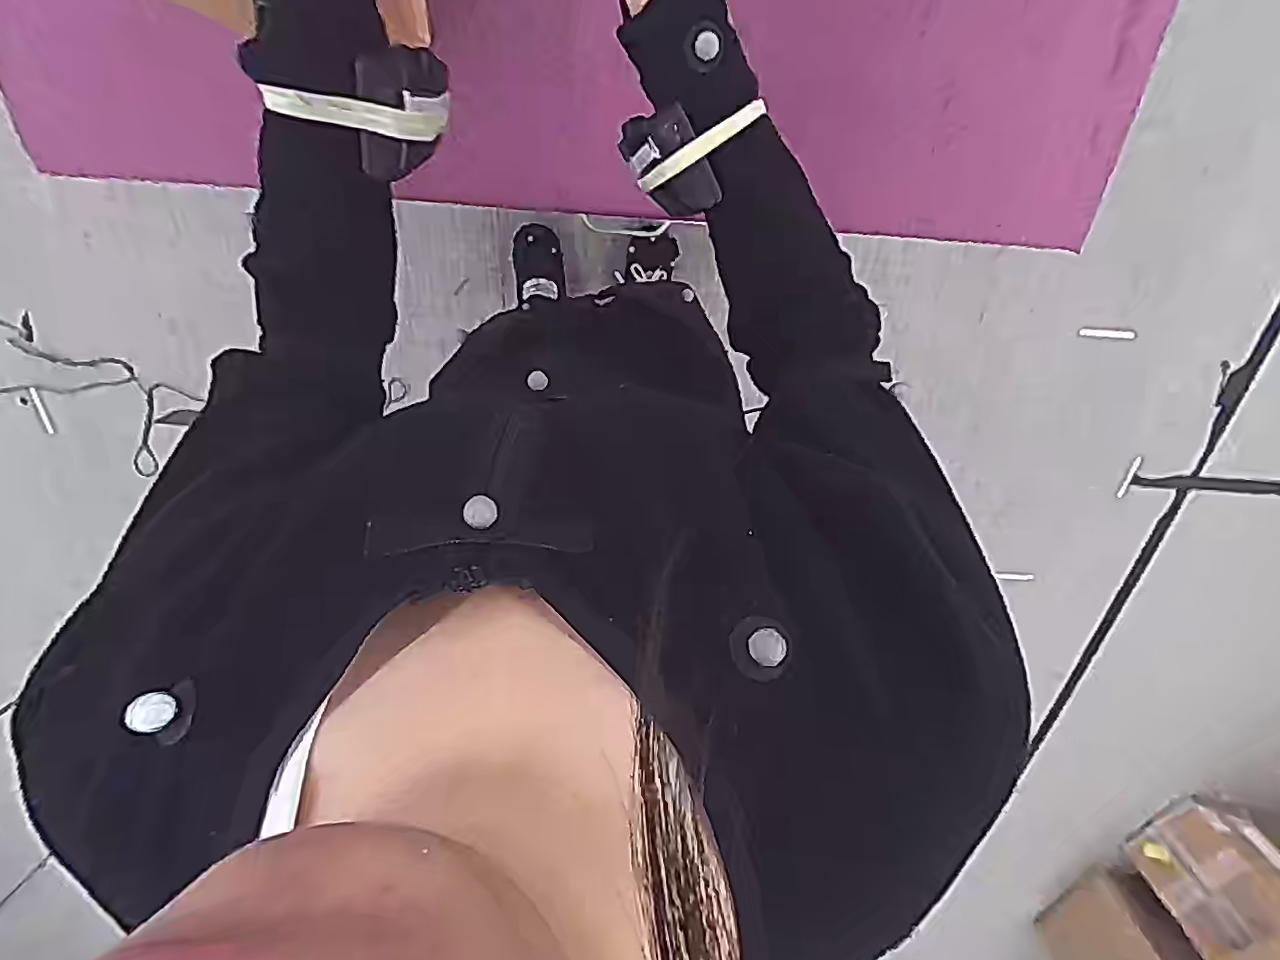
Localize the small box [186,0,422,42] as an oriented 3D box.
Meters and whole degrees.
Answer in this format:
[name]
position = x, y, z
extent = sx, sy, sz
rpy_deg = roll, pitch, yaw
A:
[small box]
position = -0.295, -0.487, 0.445
extent = 0.179, 0.176, 0.168
rpy_deg = 0, 116, -2
